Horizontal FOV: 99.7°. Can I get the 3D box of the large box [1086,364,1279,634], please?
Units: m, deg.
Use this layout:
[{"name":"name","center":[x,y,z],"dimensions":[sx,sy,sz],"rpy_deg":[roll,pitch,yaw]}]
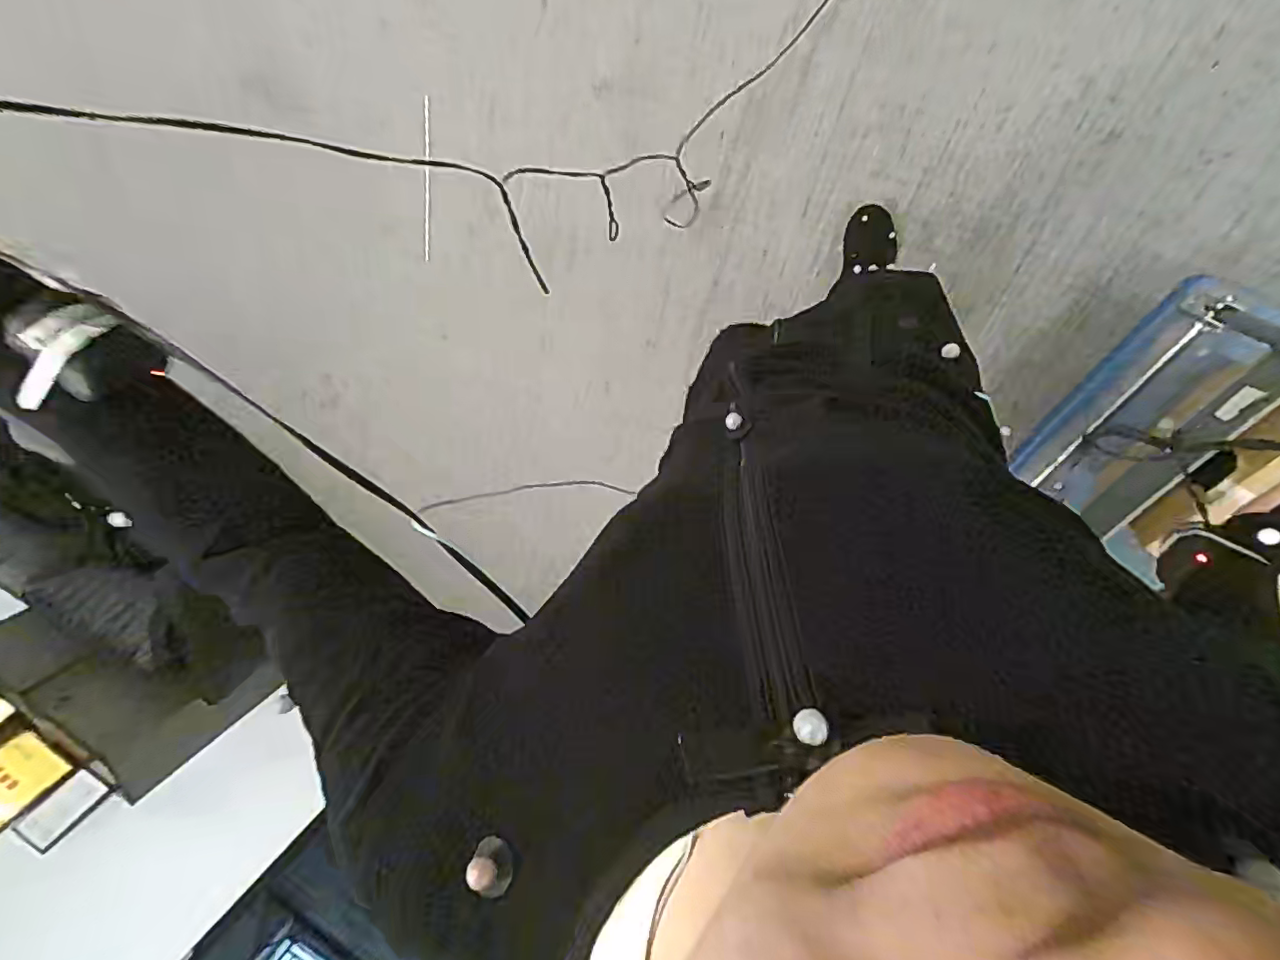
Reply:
[{"name":"large box","center":[1.155,0.047,0.979],"dimensions":[0.408,0.320,0.320],"rpy_deg":[34,125,6]}]
